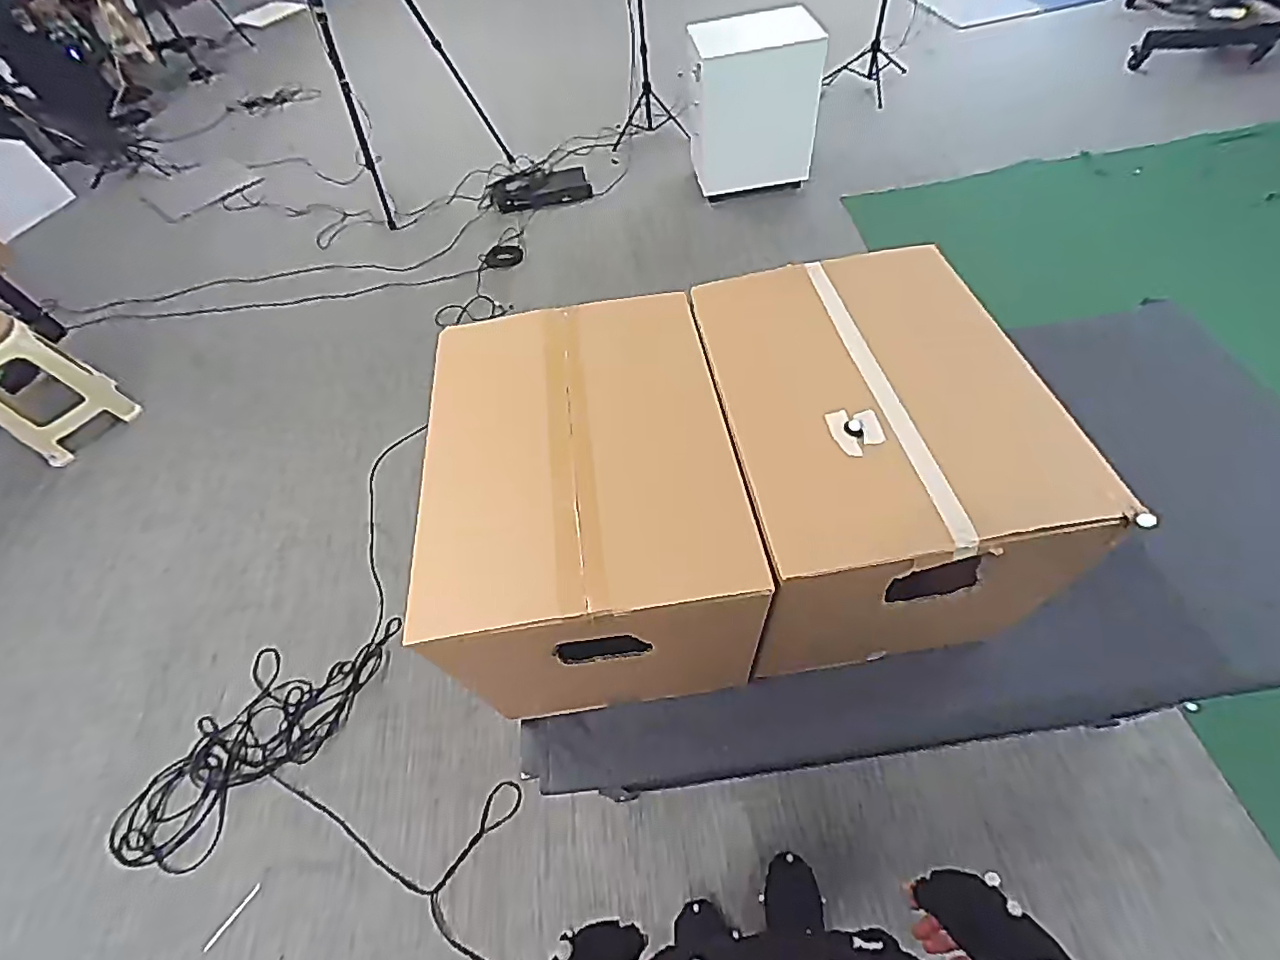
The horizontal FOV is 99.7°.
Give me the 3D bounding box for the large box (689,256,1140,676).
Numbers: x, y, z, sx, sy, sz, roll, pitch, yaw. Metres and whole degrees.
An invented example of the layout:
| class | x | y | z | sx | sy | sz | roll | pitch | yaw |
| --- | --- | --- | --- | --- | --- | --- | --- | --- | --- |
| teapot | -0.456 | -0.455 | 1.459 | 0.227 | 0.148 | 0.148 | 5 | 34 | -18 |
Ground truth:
| class | x | y | z | sx | sy | sz | roll | pitch | yaw |
| --- | --- | --- | --- | --- | --- | --- | --- | --- | --- |
| large box | 0.256 | -0.013 | 0.688 | 0.320 | 0.320 | 0.408 | -11 | 55 | 1 |
